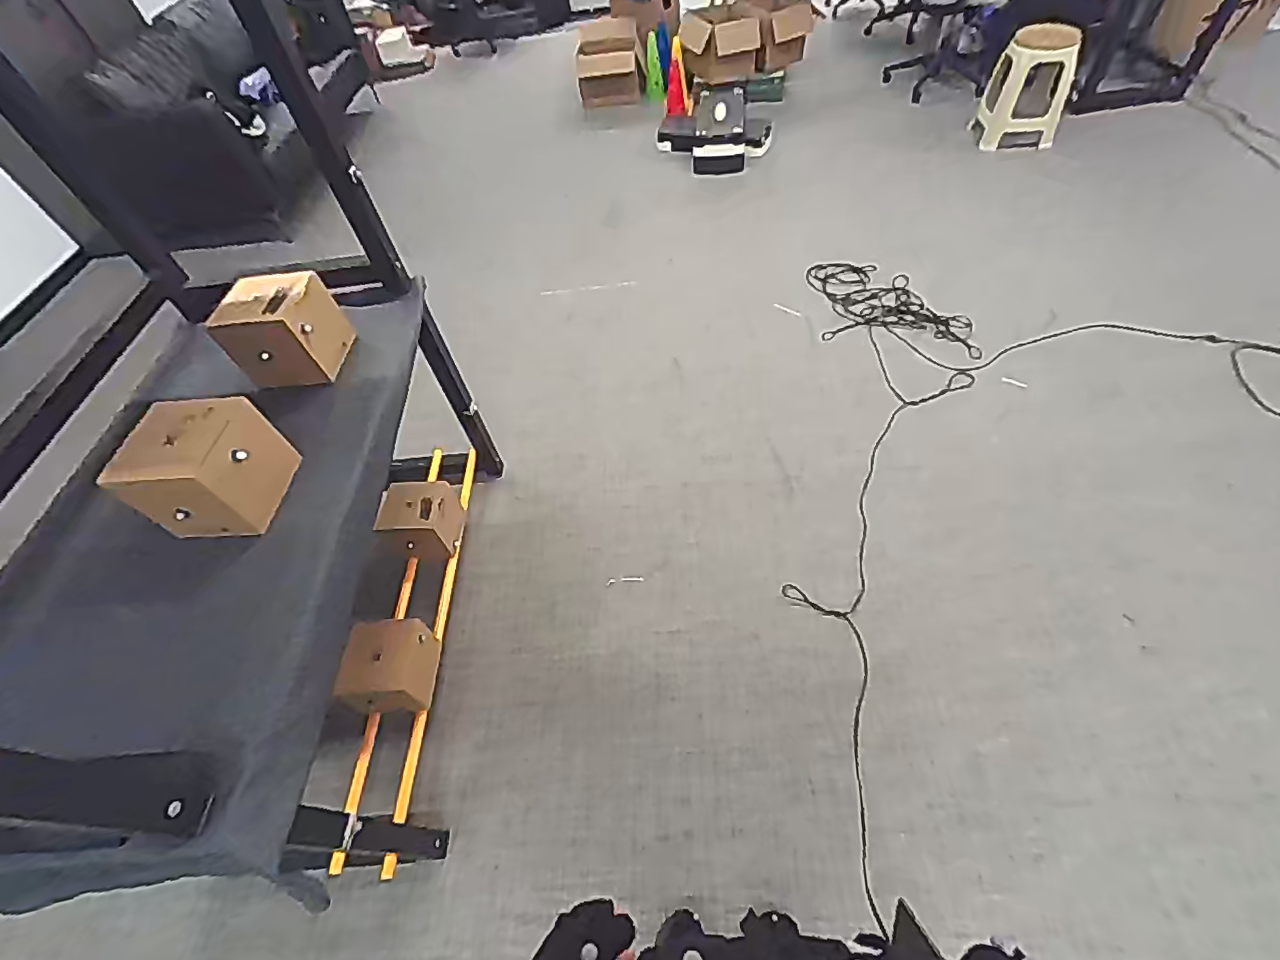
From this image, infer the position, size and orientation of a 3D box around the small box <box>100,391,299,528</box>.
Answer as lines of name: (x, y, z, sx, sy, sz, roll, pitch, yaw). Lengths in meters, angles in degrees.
small box: (-0.731, -0.028, 0.926, 0.168, 0.176, 0.179, -2, 53, 5)

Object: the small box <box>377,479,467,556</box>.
small box: (-0.631, 0.113, 1.592, 0.179, 0.176, 0.168, -2, 53, 5)
